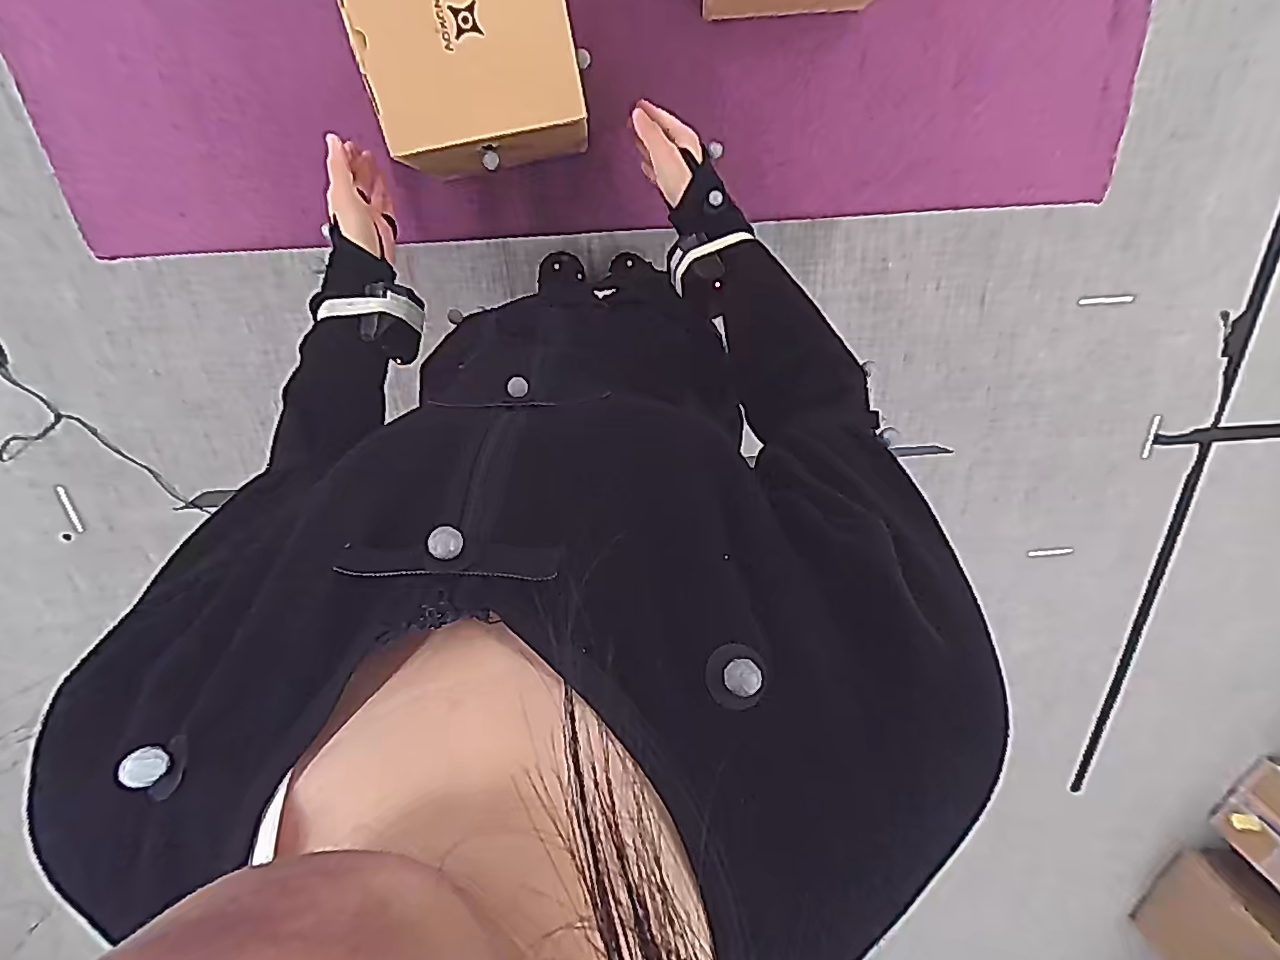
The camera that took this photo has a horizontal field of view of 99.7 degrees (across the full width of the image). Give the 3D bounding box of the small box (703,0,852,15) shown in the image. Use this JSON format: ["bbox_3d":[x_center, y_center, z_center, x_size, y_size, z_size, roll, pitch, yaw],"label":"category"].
[{"bbox_3d":[0.153,-0.543,0.472,0.179,0.176,0.168,-6,112,-2],"label":"small box"}]

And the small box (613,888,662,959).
[{"bbox_3d":[-0.012,1.658,2.016,0.168,0.176,0.179,-7,114,-1],"label":"small box"}]

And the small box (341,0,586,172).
[{"bbox_3d":[-0.151,-0.402,0.505,0.179,0.176,0.168,-11,114,1],"label":"small box"}]

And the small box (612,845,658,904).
[{"bbox_3d":[-0.022,1.594,2.165,0.168,0.176,0.179,-6,114,-2],"label":"small box"}]
